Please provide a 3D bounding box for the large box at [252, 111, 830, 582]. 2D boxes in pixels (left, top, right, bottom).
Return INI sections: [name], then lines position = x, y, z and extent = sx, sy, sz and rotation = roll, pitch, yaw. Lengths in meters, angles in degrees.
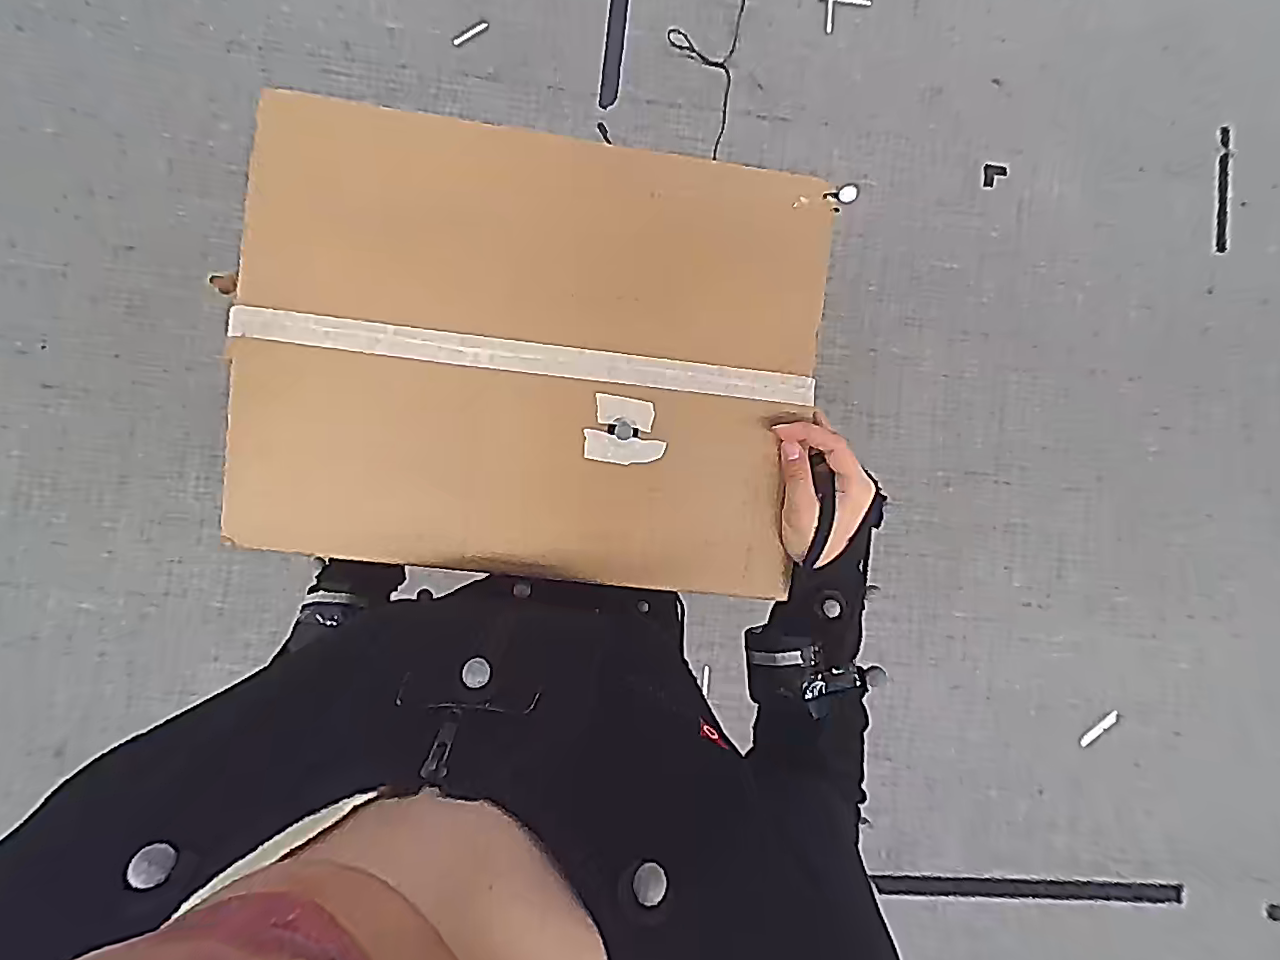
[large box]
position = -0.080, -0.094, 0.543
extent = 0.408, 0.320, 0.320
rotation = 6, 93, -6
